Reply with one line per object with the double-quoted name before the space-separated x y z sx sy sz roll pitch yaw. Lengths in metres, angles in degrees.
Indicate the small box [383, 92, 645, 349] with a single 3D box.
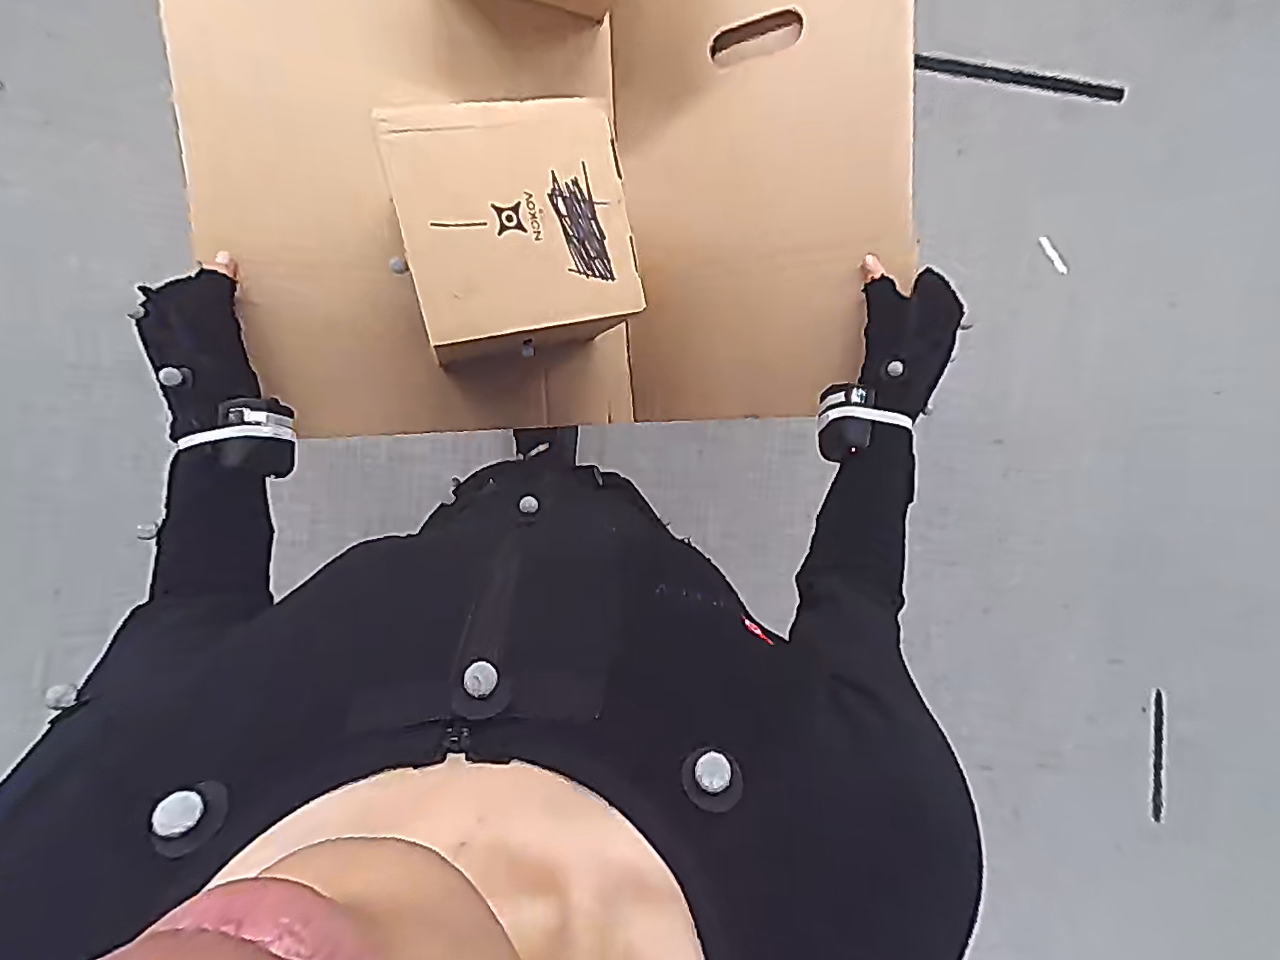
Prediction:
"small box" -0.115 -0.222 0.497 0.179 0.176 0.168 -14 101 -16
